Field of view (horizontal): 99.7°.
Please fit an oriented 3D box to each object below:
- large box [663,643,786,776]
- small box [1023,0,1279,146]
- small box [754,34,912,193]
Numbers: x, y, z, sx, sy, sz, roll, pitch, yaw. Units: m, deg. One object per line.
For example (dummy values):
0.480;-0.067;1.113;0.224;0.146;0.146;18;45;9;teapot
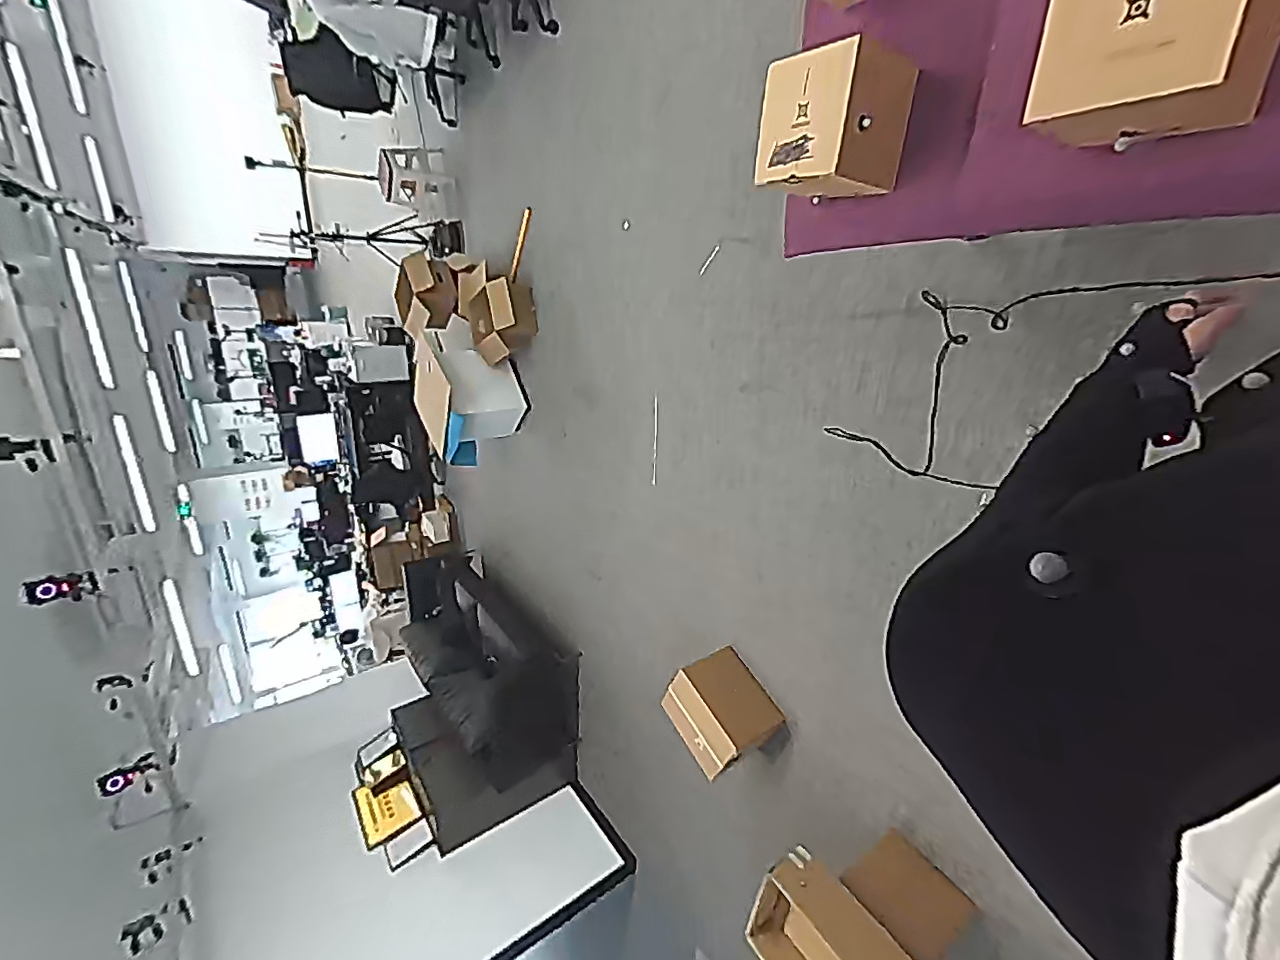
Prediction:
0.377;1.036;2.473;0.408;0.320;0.320;49;137;33;large box
0.555;-0.485;0.579;0.168;0.176;0.179;26;120;49;small box
0.313;-0.578;0.883;0.168;0.176;0.179;27;120;47;small box
